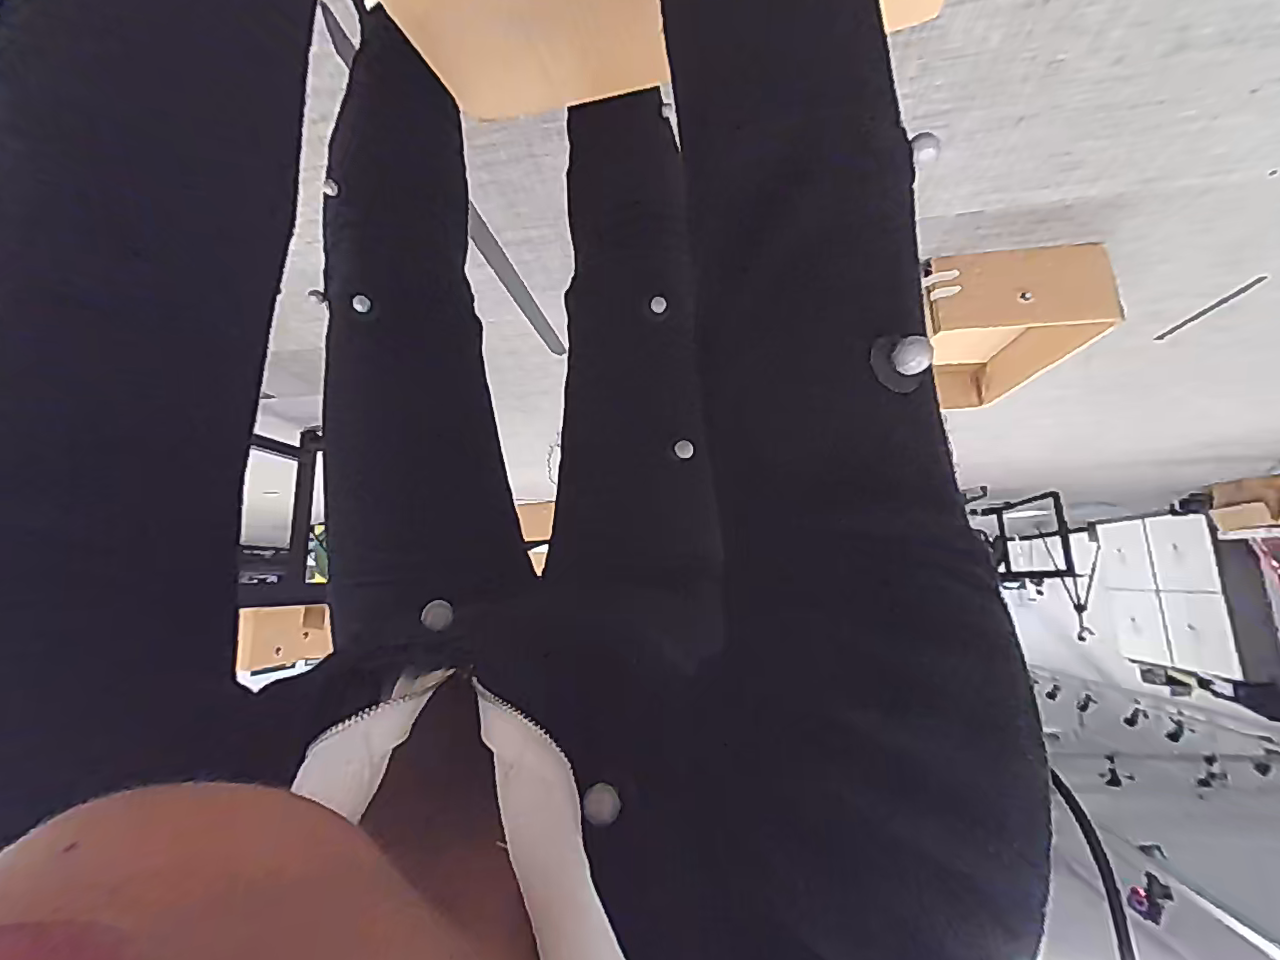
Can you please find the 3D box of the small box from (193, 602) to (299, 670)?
[{"bbox_3d":[-1.092,0.431,1.513,0.168,0.176,0.179,-4,168,10],"label":"small box"}]

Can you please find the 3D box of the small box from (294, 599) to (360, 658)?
[{"bbox_3d":[-1.041,0.479,1.760,0.179,0.176,0.168,-5,169,15],"label":"small box"}]
